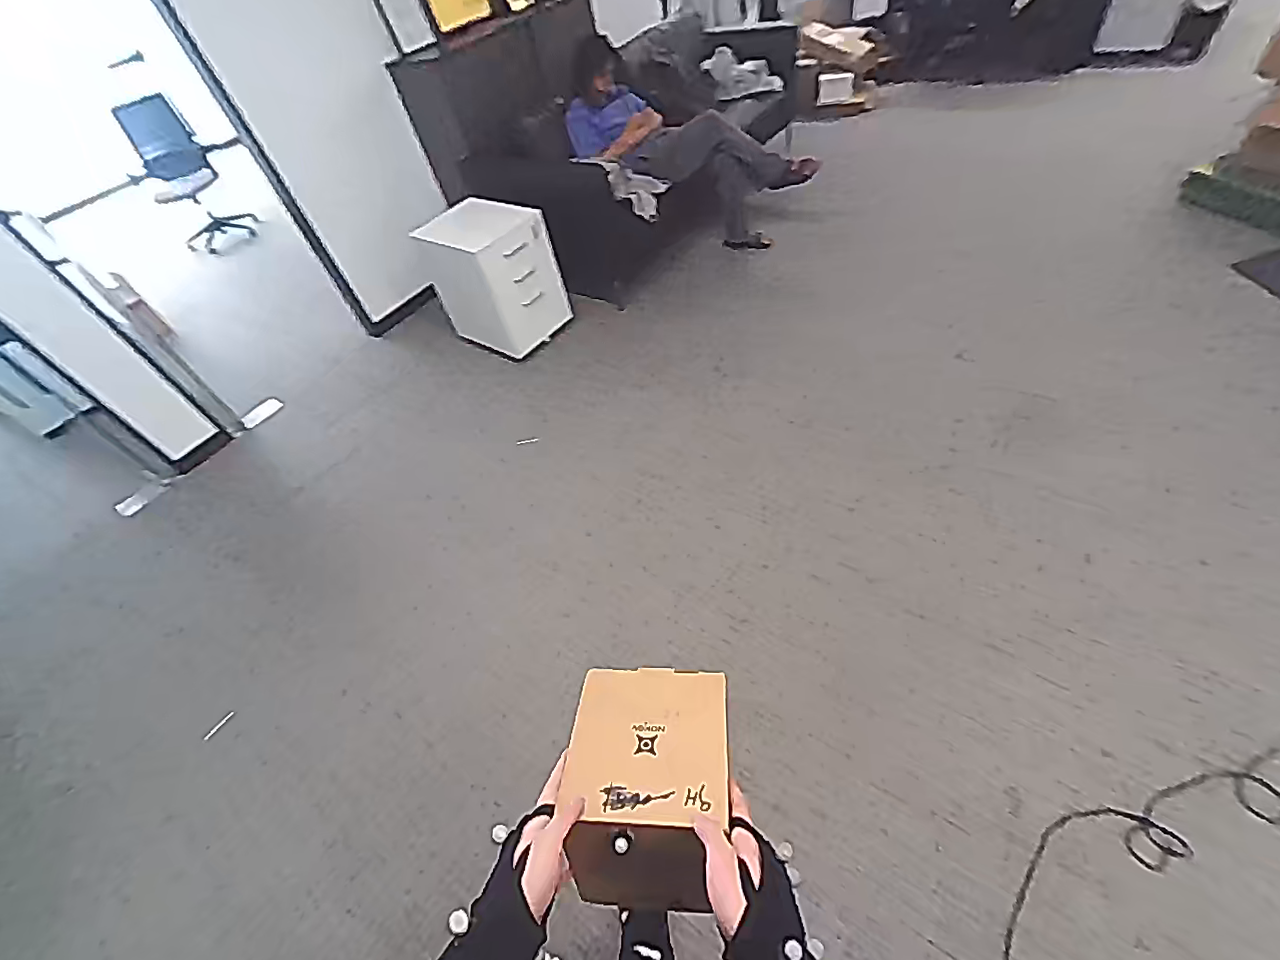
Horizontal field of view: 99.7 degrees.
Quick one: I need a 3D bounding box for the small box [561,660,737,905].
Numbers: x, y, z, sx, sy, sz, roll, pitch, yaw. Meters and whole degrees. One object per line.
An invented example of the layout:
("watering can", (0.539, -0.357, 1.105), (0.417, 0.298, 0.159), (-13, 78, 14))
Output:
("small box", (0.023, 0.331, 0.610), (0.168, 0.176, 0.179), (-1, 30, 10))
